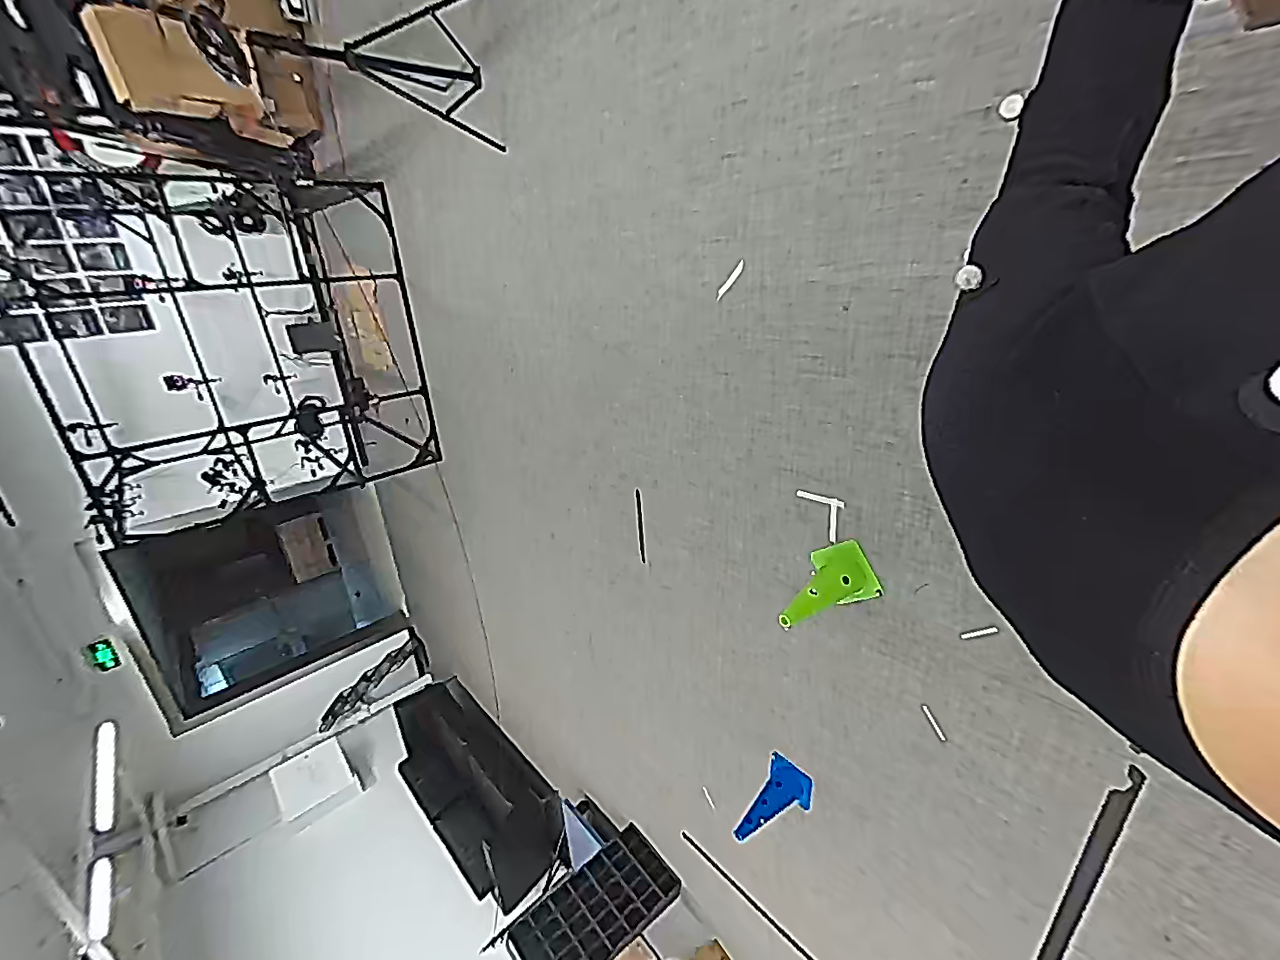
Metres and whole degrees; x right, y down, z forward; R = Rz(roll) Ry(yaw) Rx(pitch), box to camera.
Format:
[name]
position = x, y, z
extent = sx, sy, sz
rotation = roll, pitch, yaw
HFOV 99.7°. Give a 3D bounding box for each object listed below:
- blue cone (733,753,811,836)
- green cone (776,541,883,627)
[blue cone]
position = 0.529, 1.348, 2.248
extent = 0.192, 0.380, 0.193
rotation = 26, 126, 44
[green cone]
position = 0.556, 0.359, 1.699
extent = 0.202, 0.368, 0.200
rotation = -37, 77, 54
